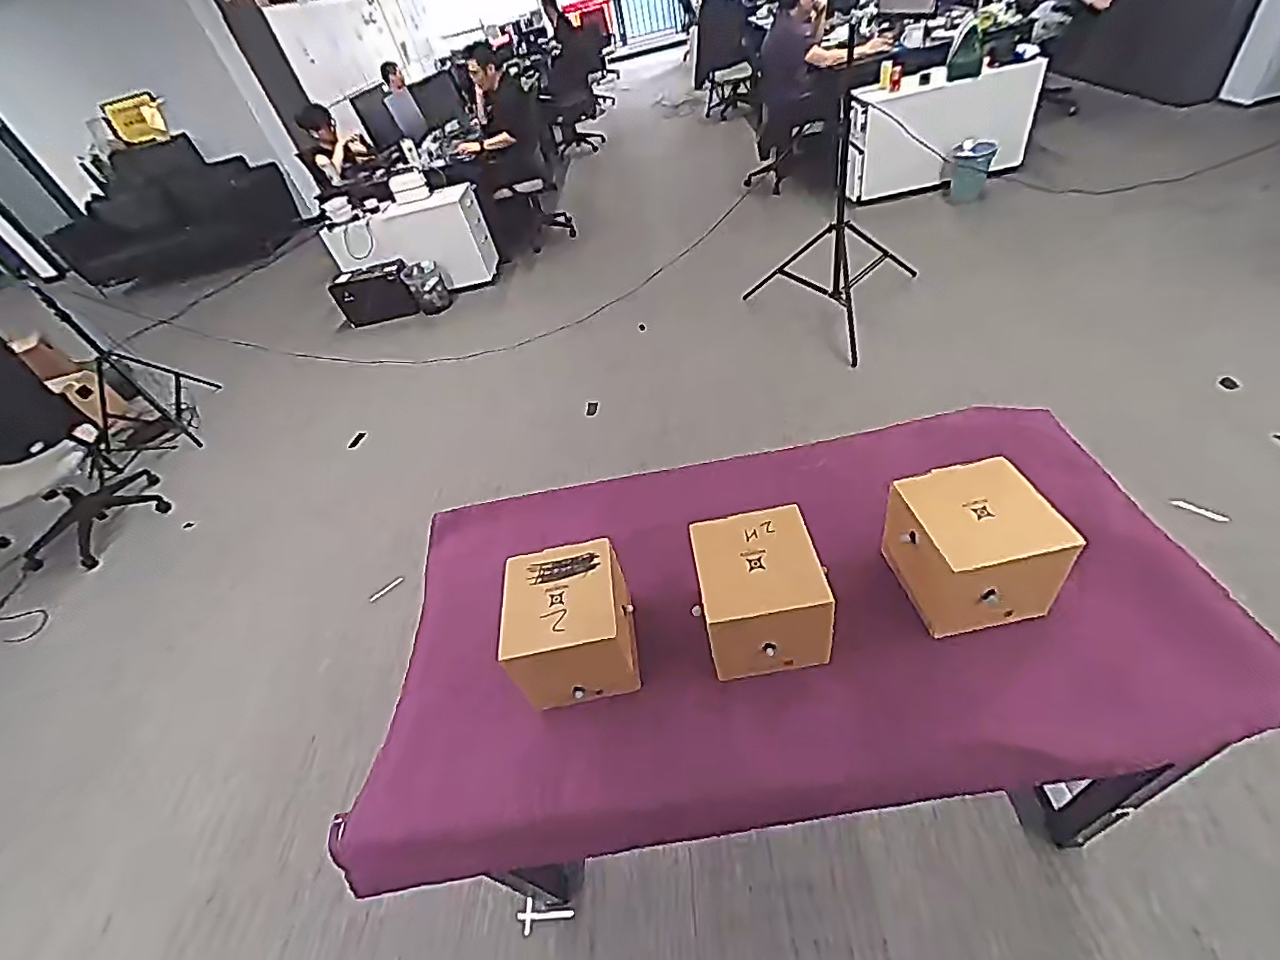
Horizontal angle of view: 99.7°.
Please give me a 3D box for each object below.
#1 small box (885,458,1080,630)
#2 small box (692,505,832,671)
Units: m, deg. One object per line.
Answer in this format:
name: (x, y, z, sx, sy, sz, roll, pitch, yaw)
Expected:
small box: (0.480, 0.100, 0.791, 0.168, 0.176, 0.179, -14, 41, 3)
small box: (0.179, 0.168, 0.809, 0.168, 0.176, 0.179, -11, 43, 5)
